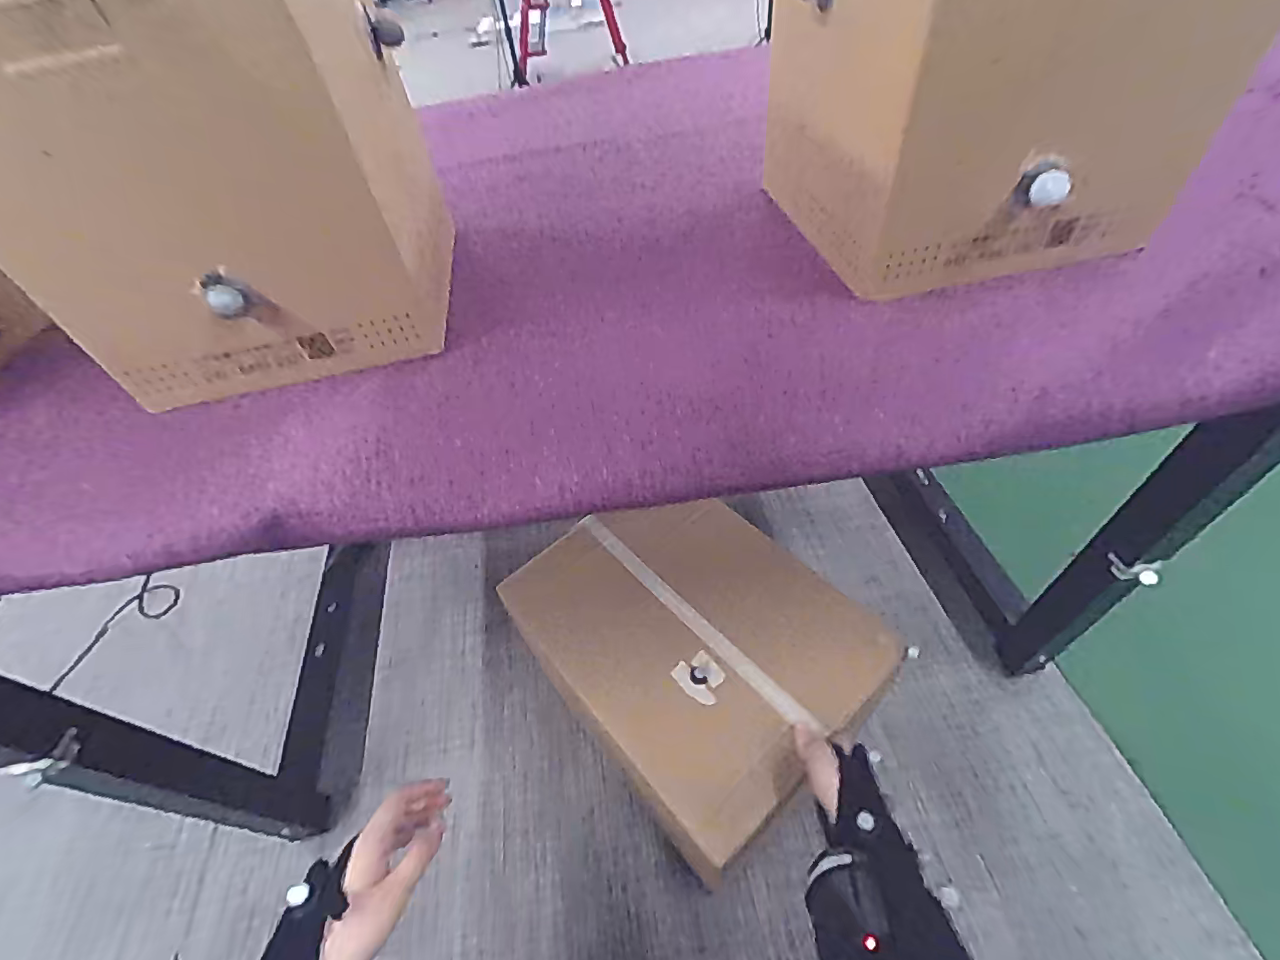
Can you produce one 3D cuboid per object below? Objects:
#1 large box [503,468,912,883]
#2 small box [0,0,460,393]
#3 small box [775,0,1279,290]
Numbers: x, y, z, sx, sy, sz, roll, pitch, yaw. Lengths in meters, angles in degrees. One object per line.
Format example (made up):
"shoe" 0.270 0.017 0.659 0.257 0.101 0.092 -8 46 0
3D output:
"large box" 0.077 0.260 0.767 0.320 0.320 0.408 -39 57 -23
"small box" -0.210 -0.175 0.299 0.168 0.176 0.179 -13 48 -2
"small box" 0.182 -0.230 0.294 0.168 0.176 0.179 -12 49 -2
